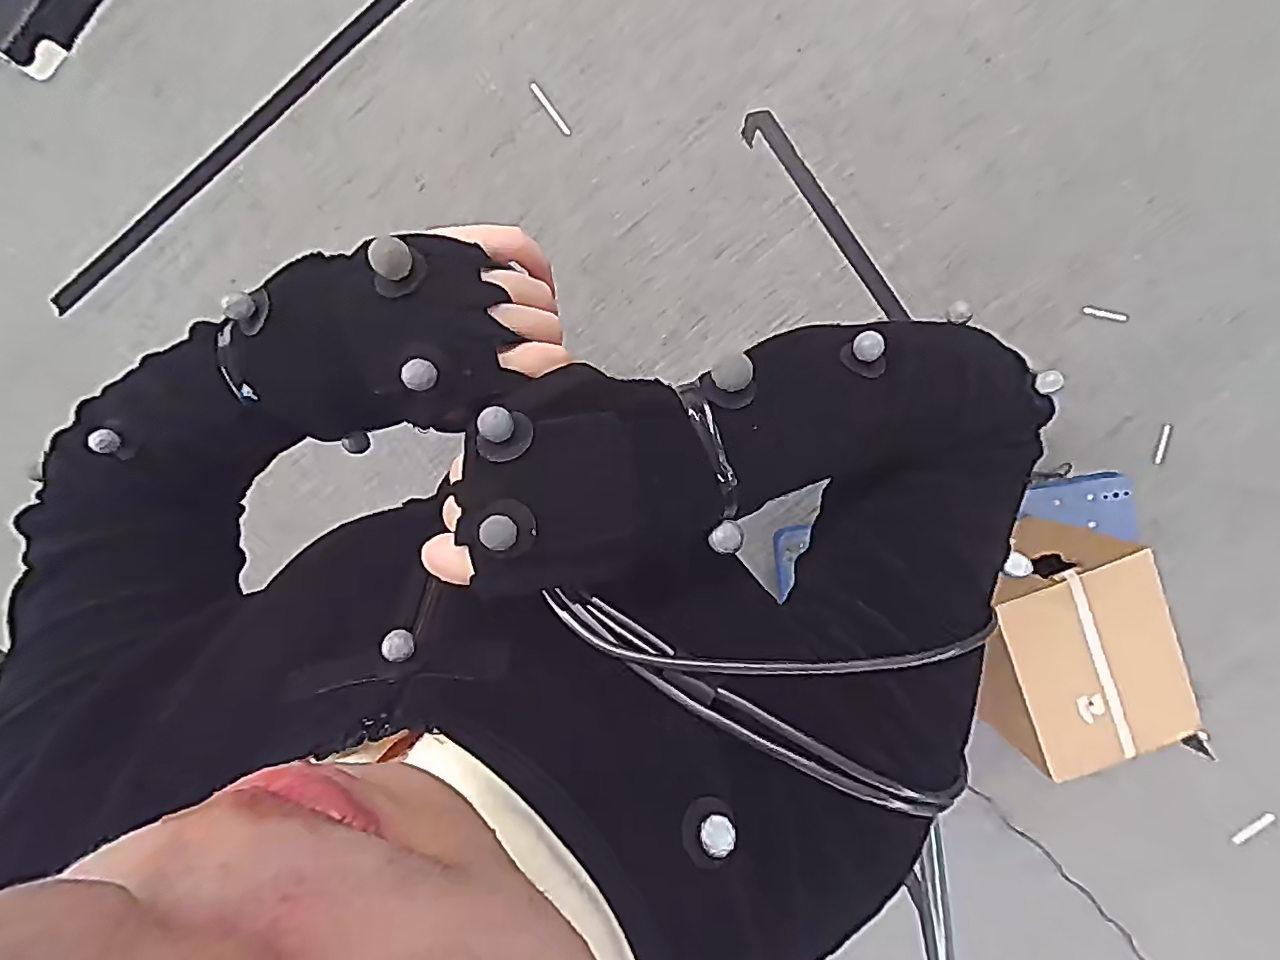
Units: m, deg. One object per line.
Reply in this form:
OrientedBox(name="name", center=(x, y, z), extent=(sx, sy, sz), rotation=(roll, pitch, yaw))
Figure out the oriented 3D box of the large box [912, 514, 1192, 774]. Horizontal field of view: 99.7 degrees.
OrientedBox(name="large box", center=(0.881, 0.335, 1.202), extent=(0.320, 0.320, 0.408), rotation=(-22, 98, 3))
